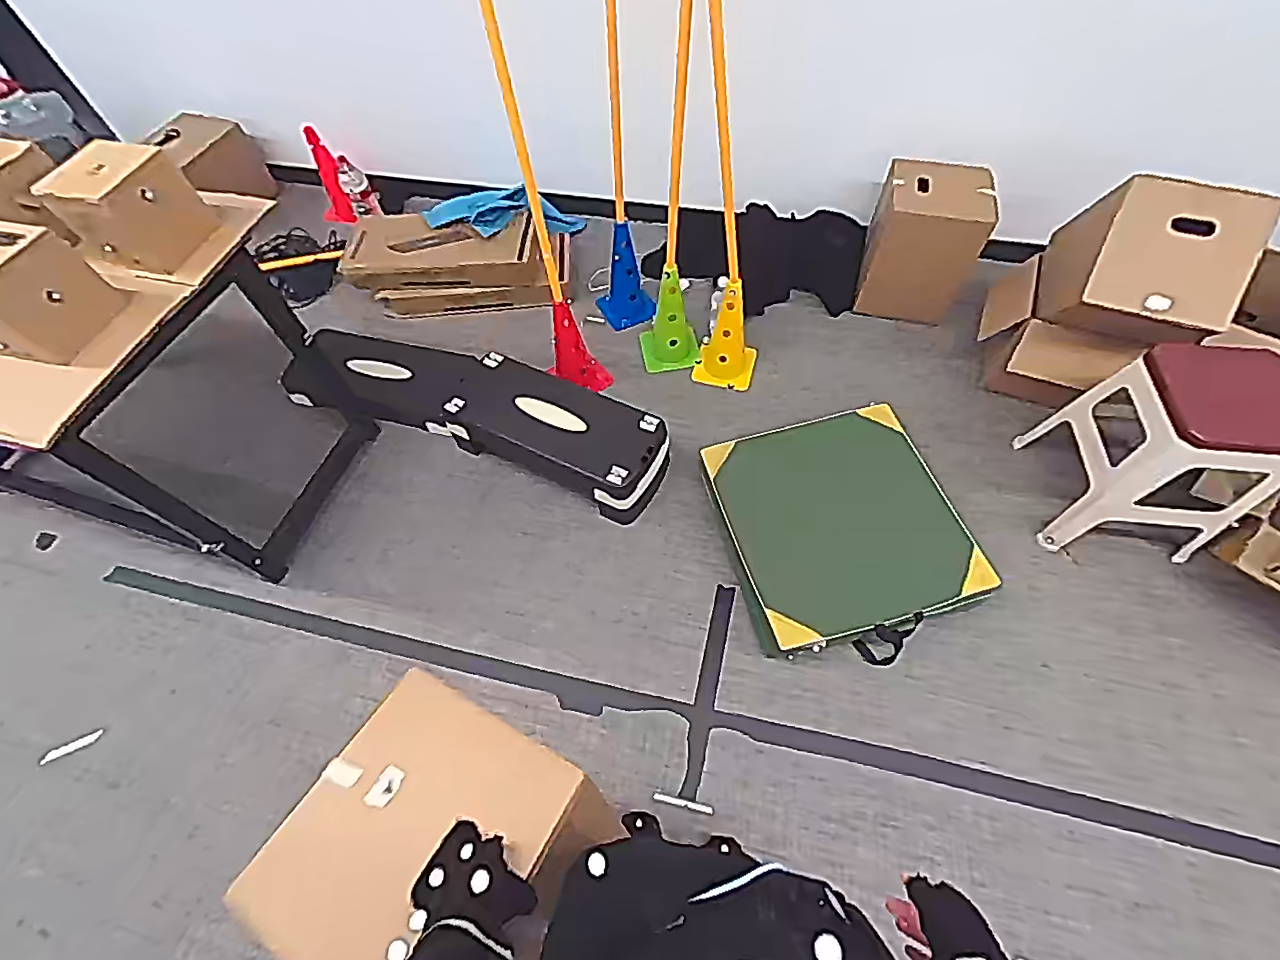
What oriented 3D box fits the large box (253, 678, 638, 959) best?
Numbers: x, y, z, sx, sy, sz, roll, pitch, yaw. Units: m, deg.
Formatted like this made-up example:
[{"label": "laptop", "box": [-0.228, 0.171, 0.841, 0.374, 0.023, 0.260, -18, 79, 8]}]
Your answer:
[{"label": "large box", "box": [-0.234, 0.561, 0.790, 0.320, 0.408, 0.320, 22, 54, 27]}]
